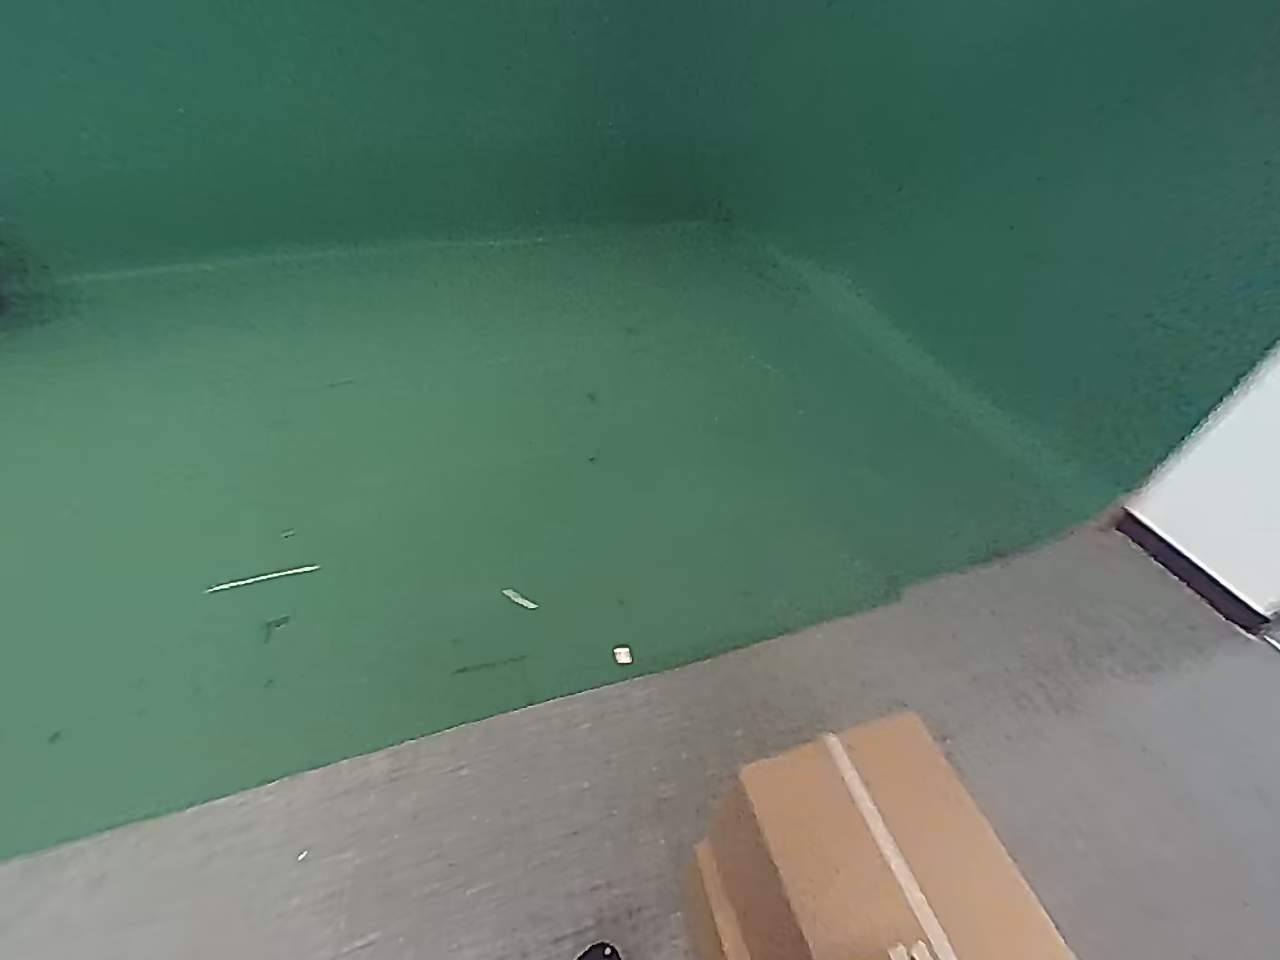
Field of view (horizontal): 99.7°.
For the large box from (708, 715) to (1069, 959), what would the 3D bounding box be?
[{"bbox_3d":[0.337,0.639,0.805,0.320,0.320,0.408,-9,47,-15],"label":"large box"}]
